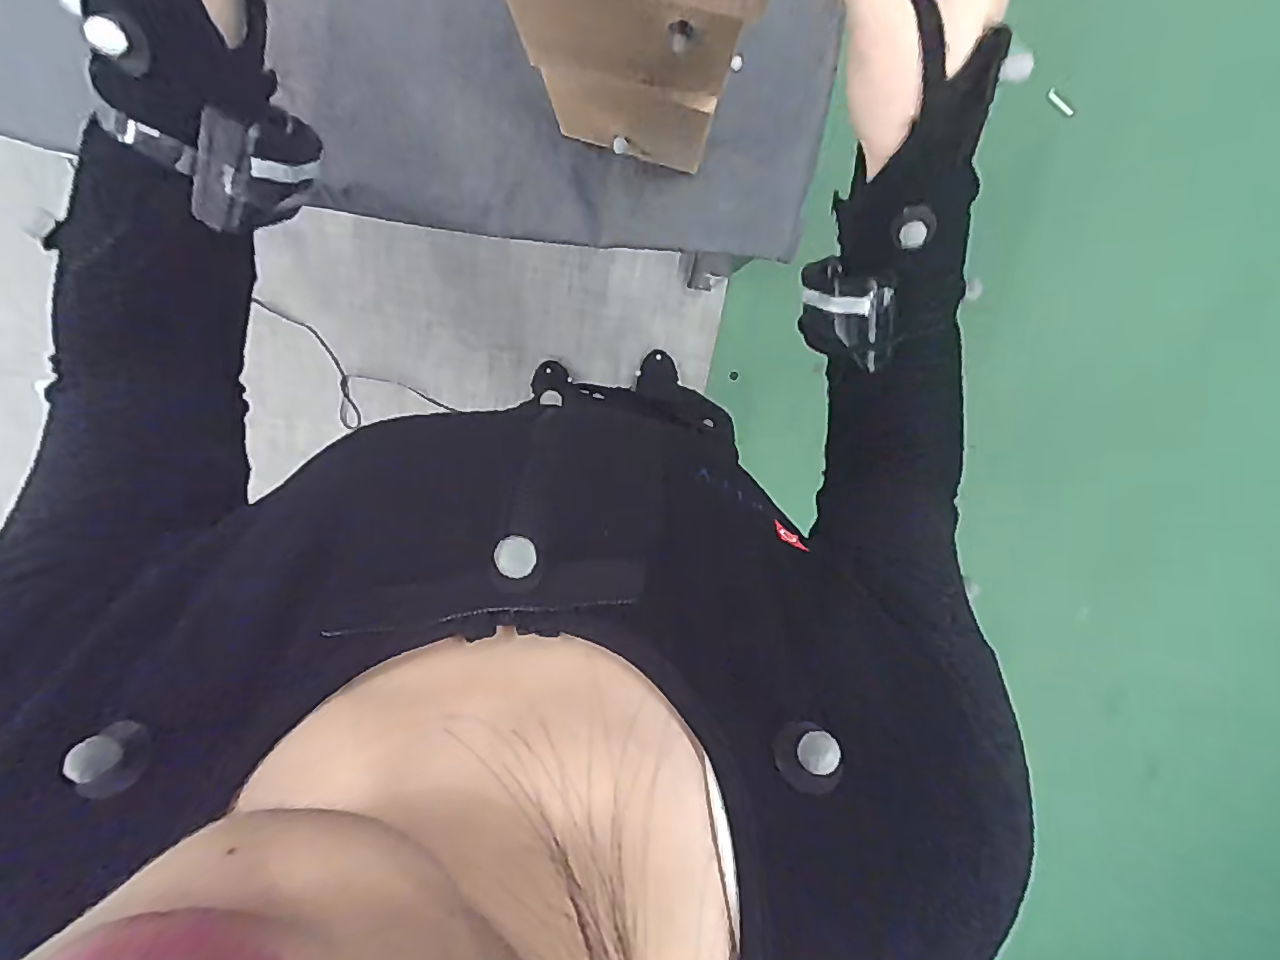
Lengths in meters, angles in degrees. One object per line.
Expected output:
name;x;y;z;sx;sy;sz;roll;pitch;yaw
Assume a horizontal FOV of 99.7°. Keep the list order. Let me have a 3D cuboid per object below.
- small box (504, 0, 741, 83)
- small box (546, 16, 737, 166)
small box;-0.005;-0.414;0.375;0.179;0.176;0.168;8;102;0
small box;0.007;-0.449;0.533;0.168;0.176;0.179;15;103;-3
